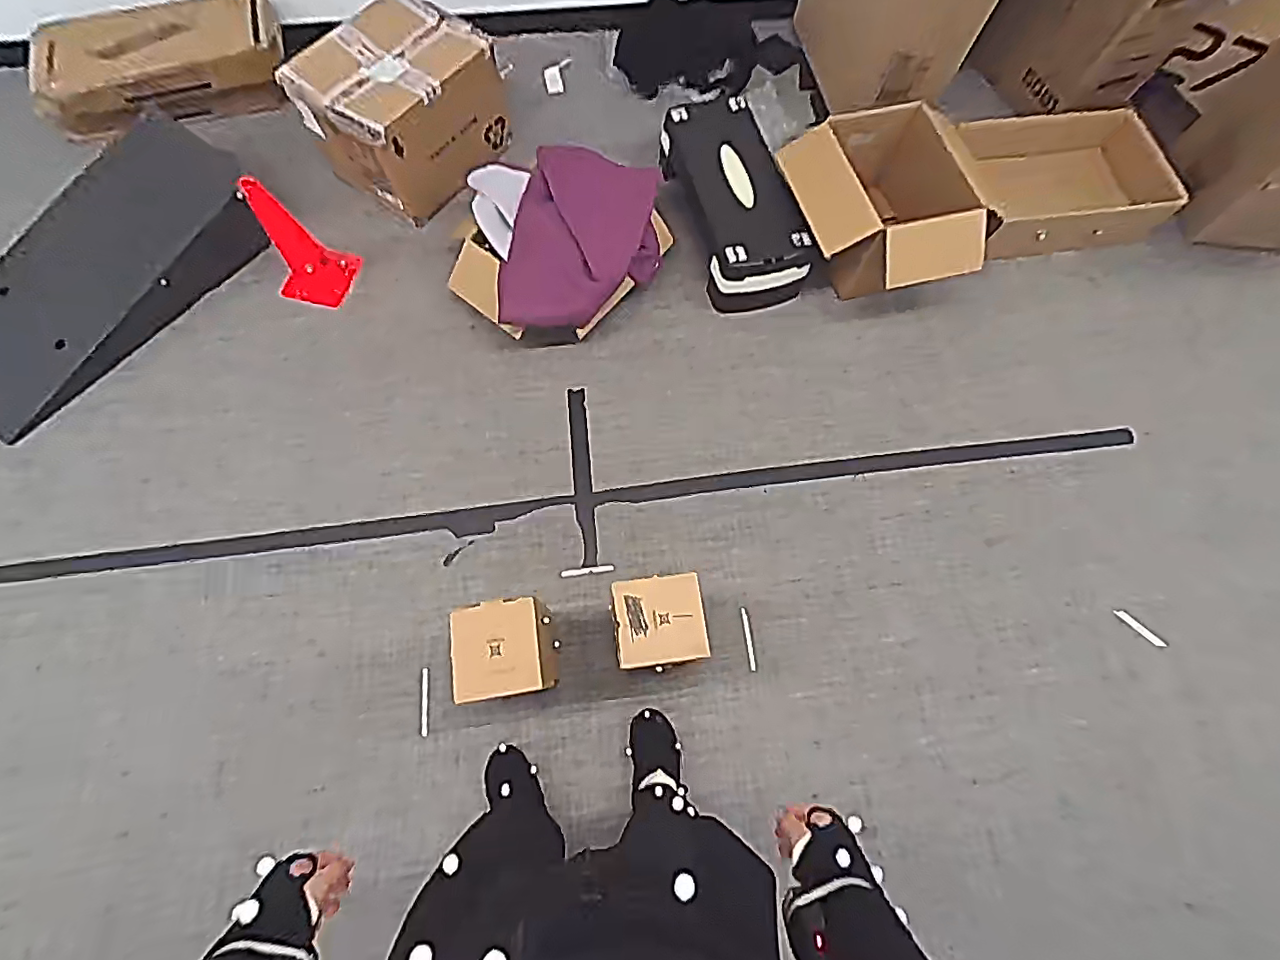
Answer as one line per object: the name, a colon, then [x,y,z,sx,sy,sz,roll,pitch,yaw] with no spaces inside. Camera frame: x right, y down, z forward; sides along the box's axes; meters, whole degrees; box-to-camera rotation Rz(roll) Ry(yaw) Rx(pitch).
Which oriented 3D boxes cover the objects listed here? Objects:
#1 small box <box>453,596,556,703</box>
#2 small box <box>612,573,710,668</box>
small box: [-0.272,0.346,1.104,0.168,0.176,0.179,-9,72,-3]
small box: [0.039,0.298,1.127,0.179,0.176,0.168,-6,71,-5]
